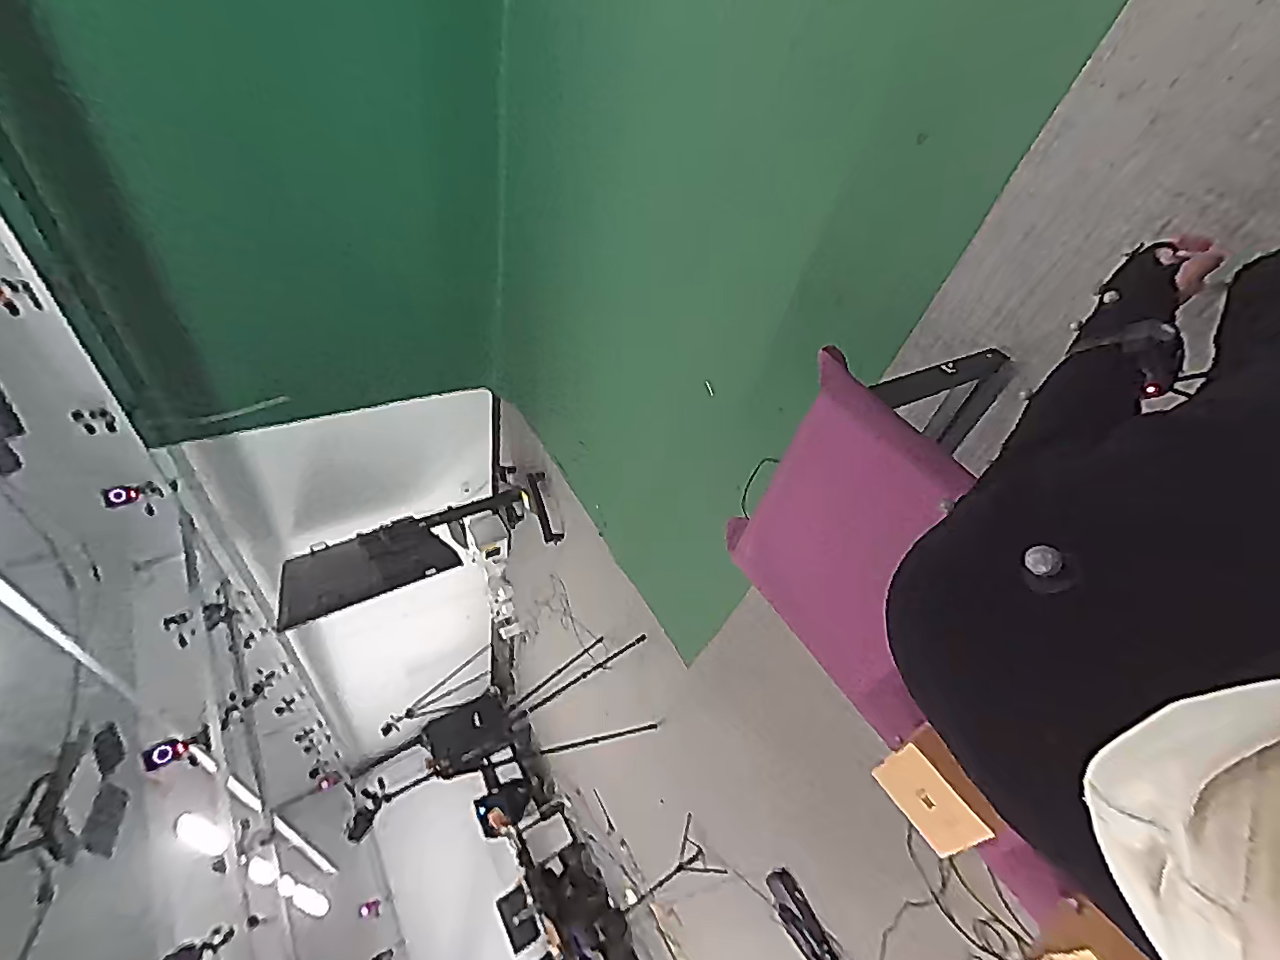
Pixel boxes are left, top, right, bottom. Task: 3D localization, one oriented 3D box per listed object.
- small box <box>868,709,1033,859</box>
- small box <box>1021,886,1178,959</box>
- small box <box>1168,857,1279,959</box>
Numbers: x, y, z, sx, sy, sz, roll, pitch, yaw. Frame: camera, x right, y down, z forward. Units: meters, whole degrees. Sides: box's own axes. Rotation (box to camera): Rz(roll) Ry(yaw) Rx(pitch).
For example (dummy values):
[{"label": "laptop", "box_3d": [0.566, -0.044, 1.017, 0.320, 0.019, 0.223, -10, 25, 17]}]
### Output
[{"label": "small box", "box_3d": [0.583, 0.565, 1.025, 0.179, 0.176, 0.168, 50, 144, 32]}, {"label": "small box", "box_3d": [0.760, 0.791, 0.846, 0.179, 0.176, 0.168, 50, 143, 34]}, {"label": "small box", "box_3d": [0.816, 0.592, 0.644, 0.179, 0.176, 0.168, 53, 147, 31]}]
